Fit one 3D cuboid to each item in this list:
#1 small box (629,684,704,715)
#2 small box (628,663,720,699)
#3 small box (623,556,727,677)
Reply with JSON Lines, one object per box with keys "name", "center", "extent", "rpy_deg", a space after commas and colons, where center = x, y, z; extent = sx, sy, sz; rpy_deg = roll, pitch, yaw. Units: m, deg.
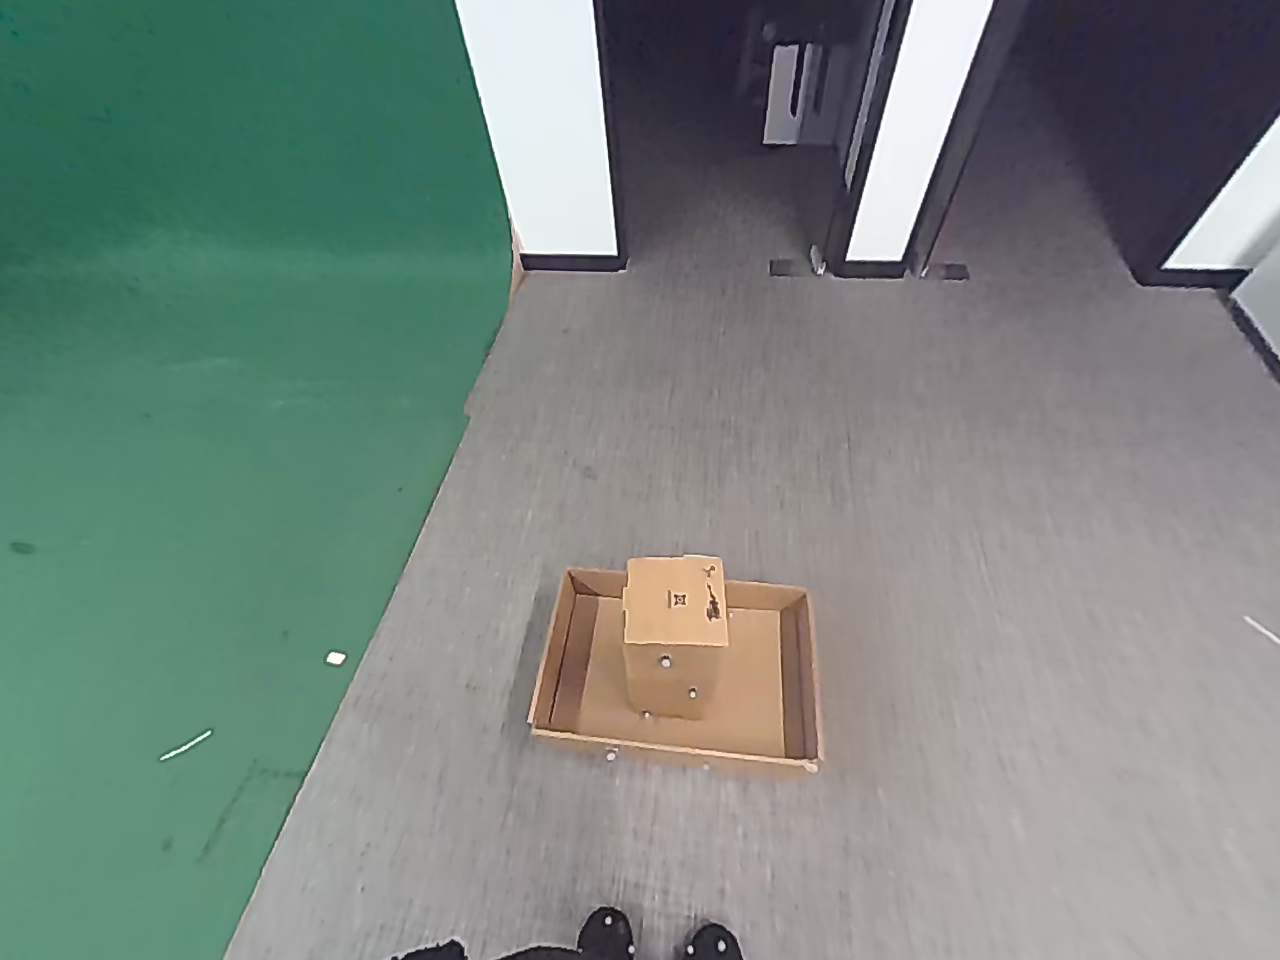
{"name": "small box", "center": [0.071, 0.442, 1.275], "extent": [0.168, 0.176, 0.179], "rpy_deg": [3, 53, 6]}
{"name": "small box", "center": [0.067, 0.348, 1.123], "extent": [0.179, 0.176, 0.168], "rpy_deg": [-1, 52, 2]}
{"name": "small box", "center": [0.062, 0.258, 1.009], "extent": [0.179, 0.176, 0.168], "rpy_deg": [-2, 50, 1]}
